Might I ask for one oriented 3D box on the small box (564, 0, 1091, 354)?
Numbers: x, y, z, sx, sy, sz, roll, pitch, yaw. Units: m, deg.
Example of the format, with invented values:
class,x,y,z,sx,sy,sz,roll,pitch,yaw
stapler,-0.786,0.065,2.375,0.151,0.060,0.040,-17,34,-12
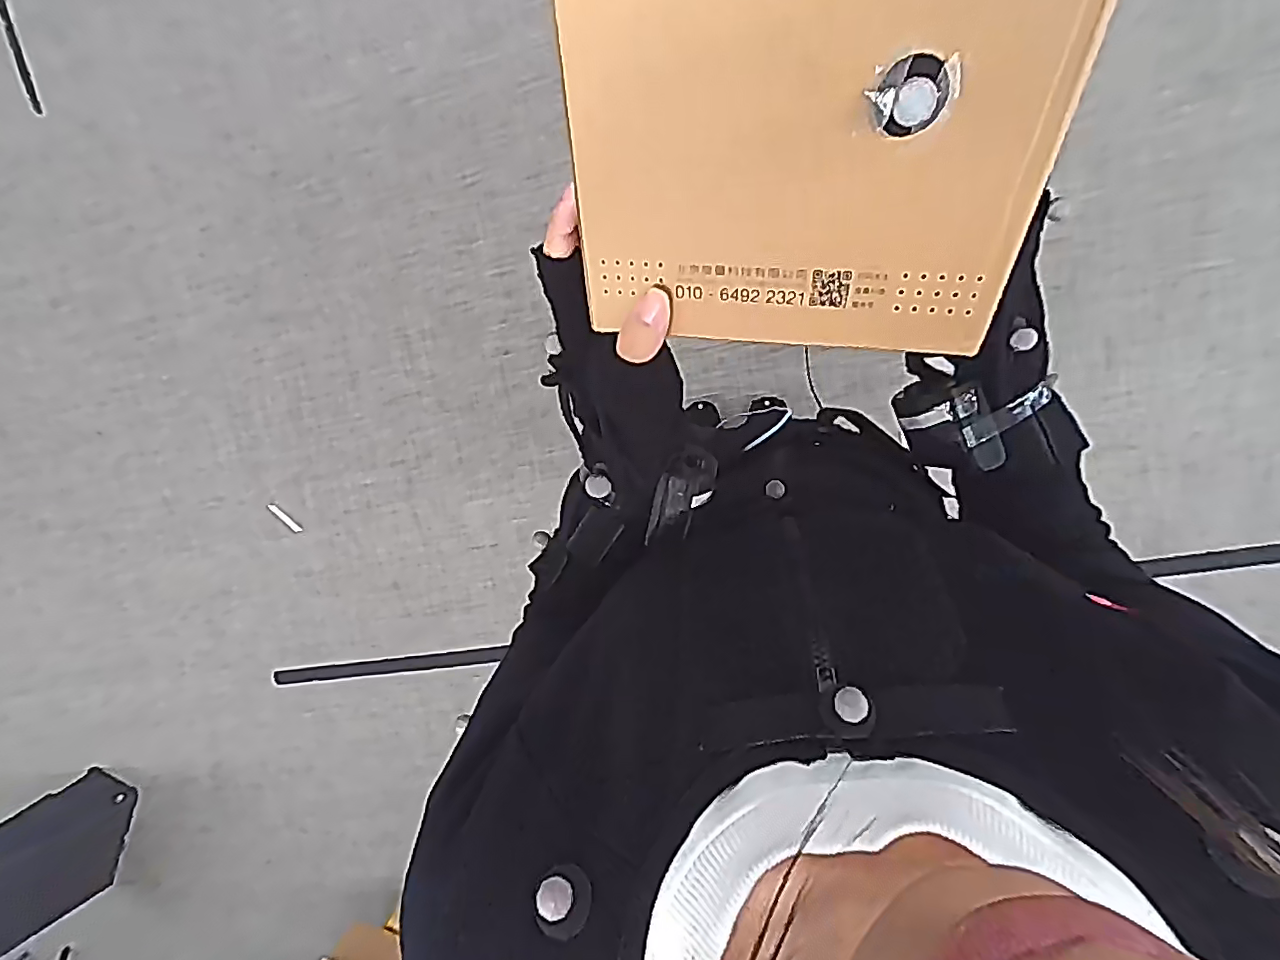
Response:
class,x,y,z,sx,sy,sz,roll,pitch,yaw
small box,0.077,-0.174,0.250,0.168,0.179,0.176,9,133,14
